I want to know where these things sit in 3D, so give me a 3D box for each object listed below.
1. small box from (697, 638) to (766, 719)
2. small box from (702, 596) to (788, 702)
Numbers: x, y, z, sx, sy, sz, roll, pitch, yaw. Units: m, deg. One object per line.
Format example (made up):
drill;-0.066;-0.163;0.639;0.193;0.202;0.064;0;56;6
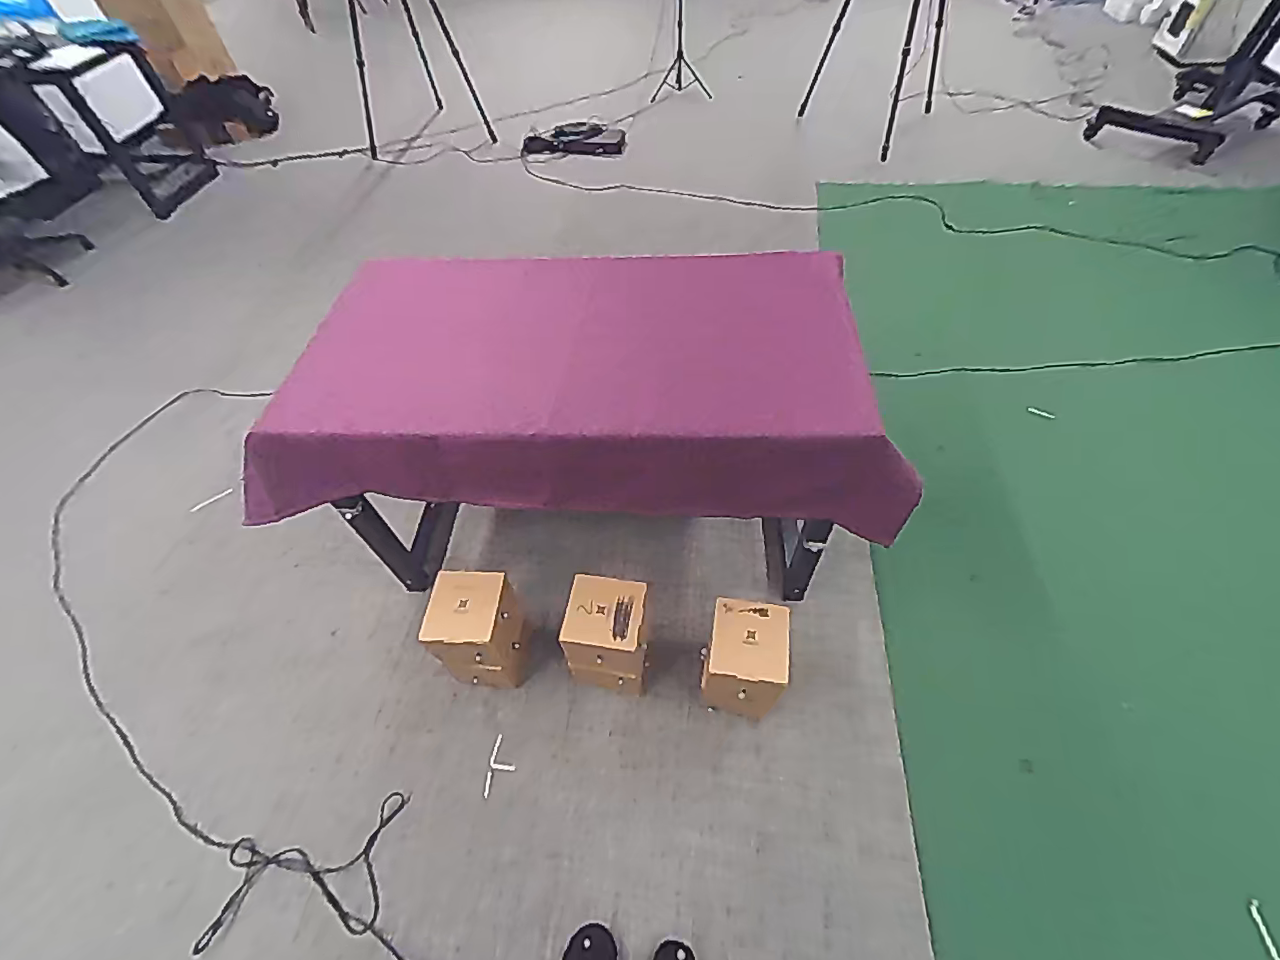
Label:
small box;0.242;0.485;1.371;0.168;0.176;0.179;11;54;11
small box;0.236;0.391;1.235;0.168;0.176;0.179;9;55;8
